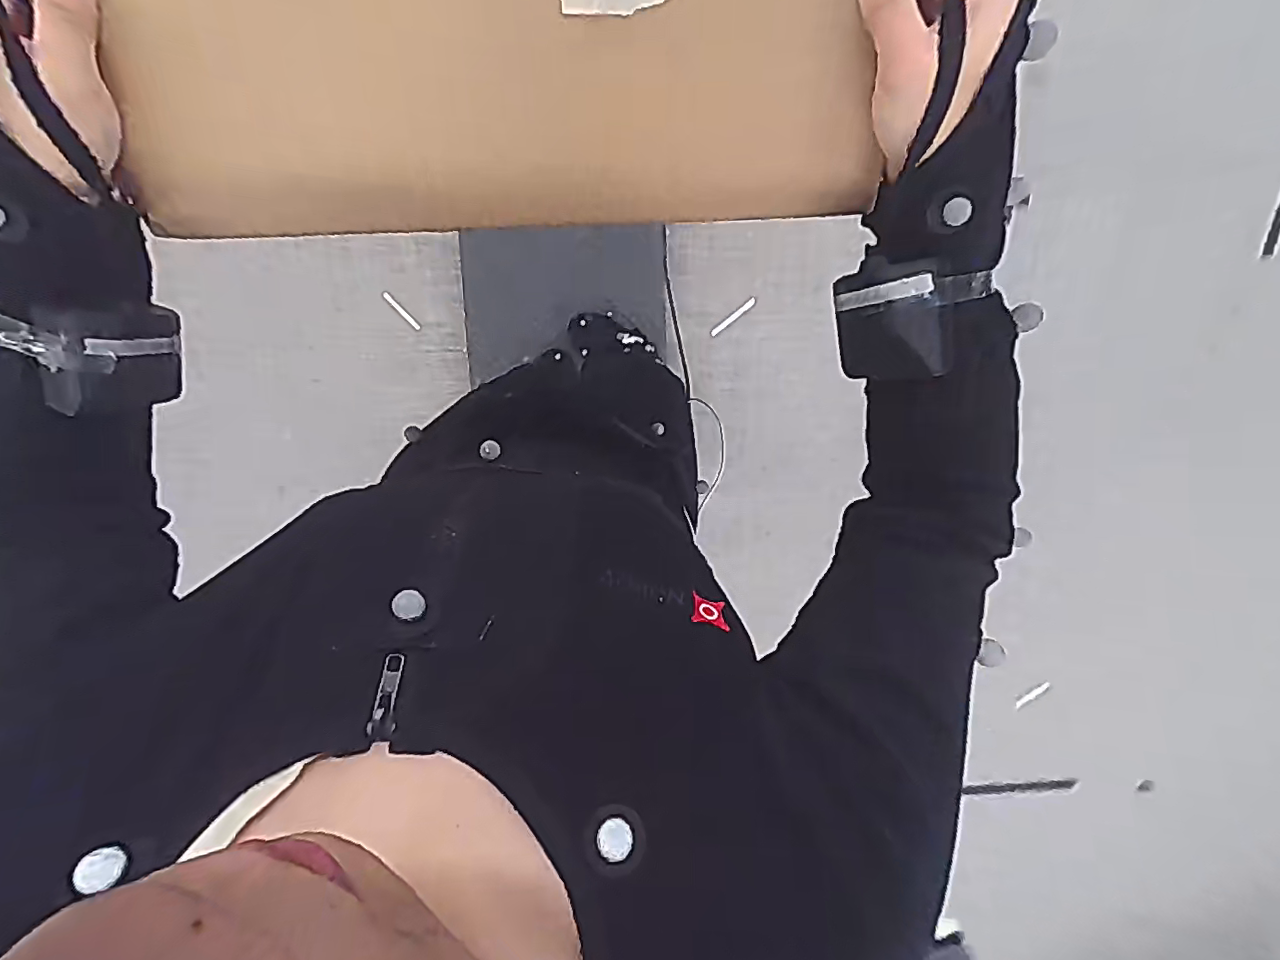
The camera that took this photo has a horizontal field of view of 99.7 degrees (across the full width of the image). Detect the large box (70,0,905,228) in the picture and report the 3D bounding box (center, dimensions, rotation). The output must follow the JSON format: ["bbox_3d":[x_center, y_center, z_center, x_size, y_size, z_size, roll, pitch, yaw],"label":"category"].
[{"bbox_3d":[-0.075,-0.362,0.347,0.408,0.320,0.320,-1,125,0],"label":"large box"}]
